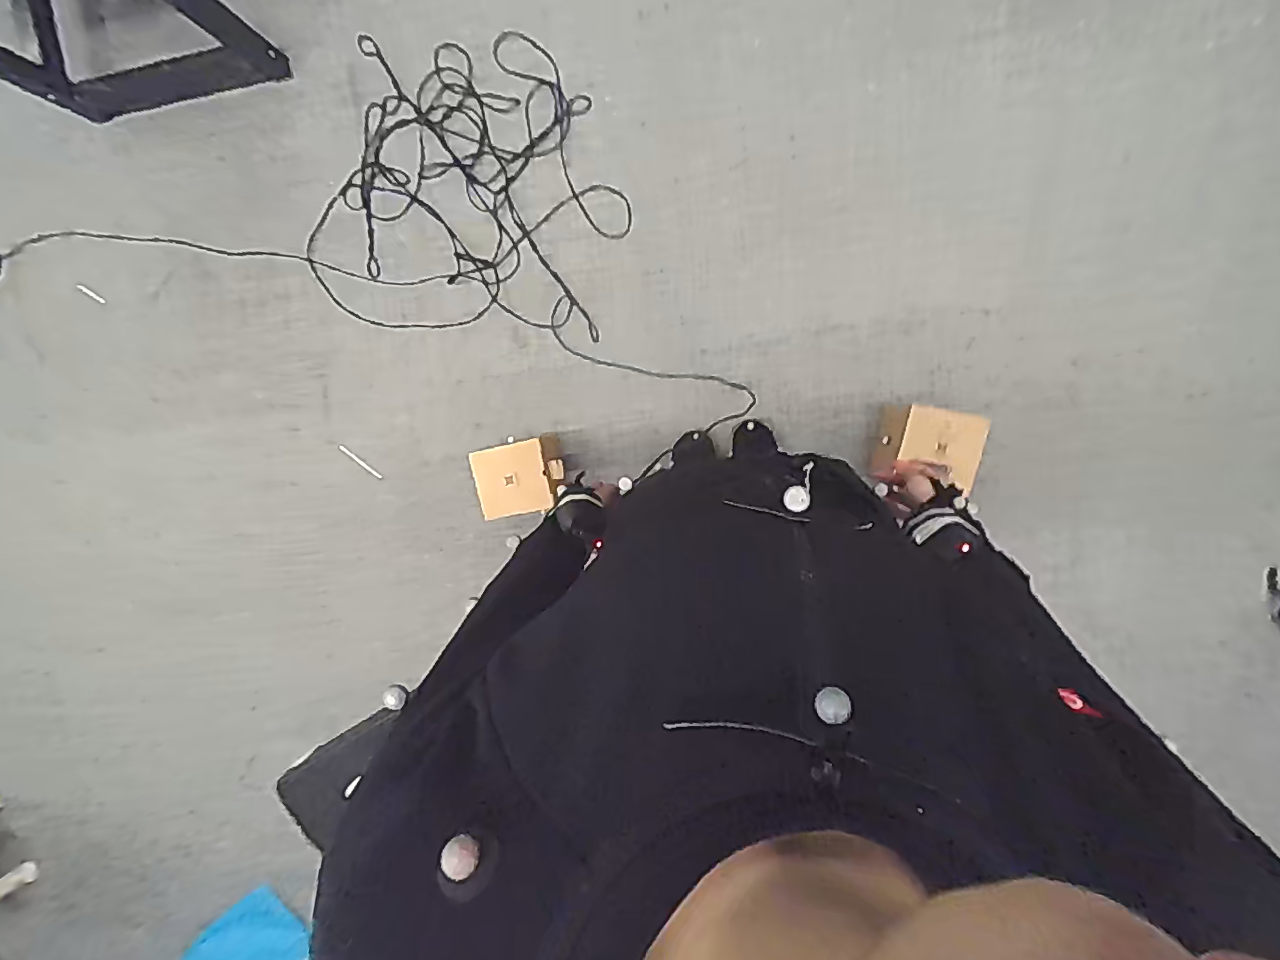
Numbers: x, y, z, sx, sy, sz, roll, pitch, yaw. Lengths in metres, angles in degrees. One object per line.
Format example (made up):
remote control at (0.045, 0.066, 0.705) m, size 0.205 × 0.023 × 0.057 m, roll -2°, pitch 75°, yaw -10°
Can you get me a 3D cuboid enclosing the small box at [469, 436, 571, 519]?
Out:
small box at (-0.286, -0.011, 1.321) m, size 0.179 × 0.176 × 0.168 m, roll -12°, pitch 96°, yaw 7°
